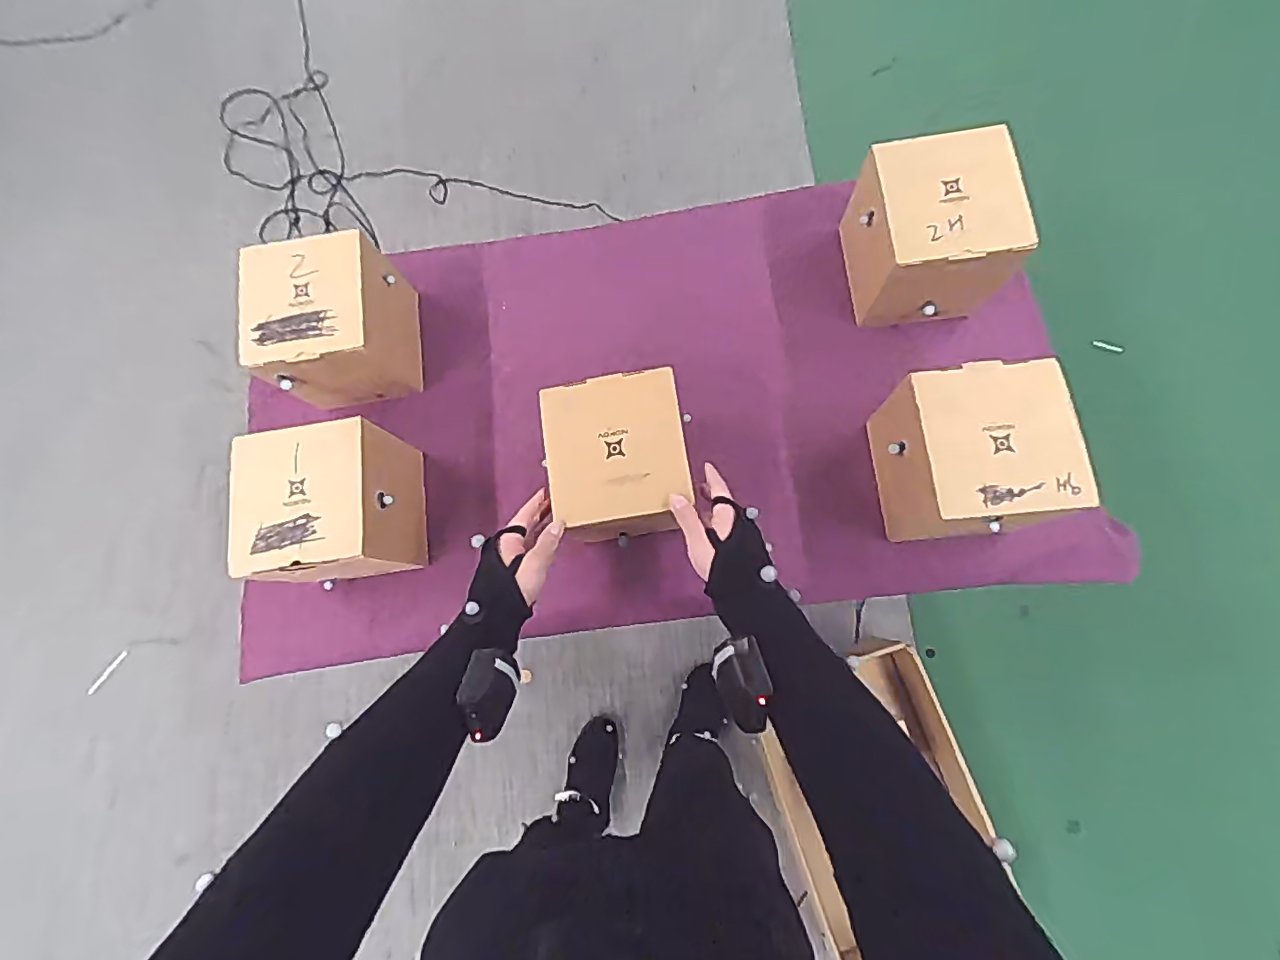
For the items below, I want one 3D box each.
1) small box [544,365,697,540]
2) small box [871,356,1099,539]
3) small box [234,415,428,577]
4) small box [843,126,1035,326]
[{"bbox_3d":[-0.020,-0.026,0.711,0.168,0.176,0.179,-9,76,4],"label":"small box"},{"bbox_3d":[0.406,-0.031,0.675,0.168,0.176,0.179,-6,74,5],"label":"small box"},{"bbox_3d":[-0.399,0.033,0.725,0.168,0.176,0.179,-9,75,2],"label":"small box"},{"bbox_3d":[0.392,-0.338,0.745,0.168,0.176,0.179,-6,78,5],"label":"small box"}]
